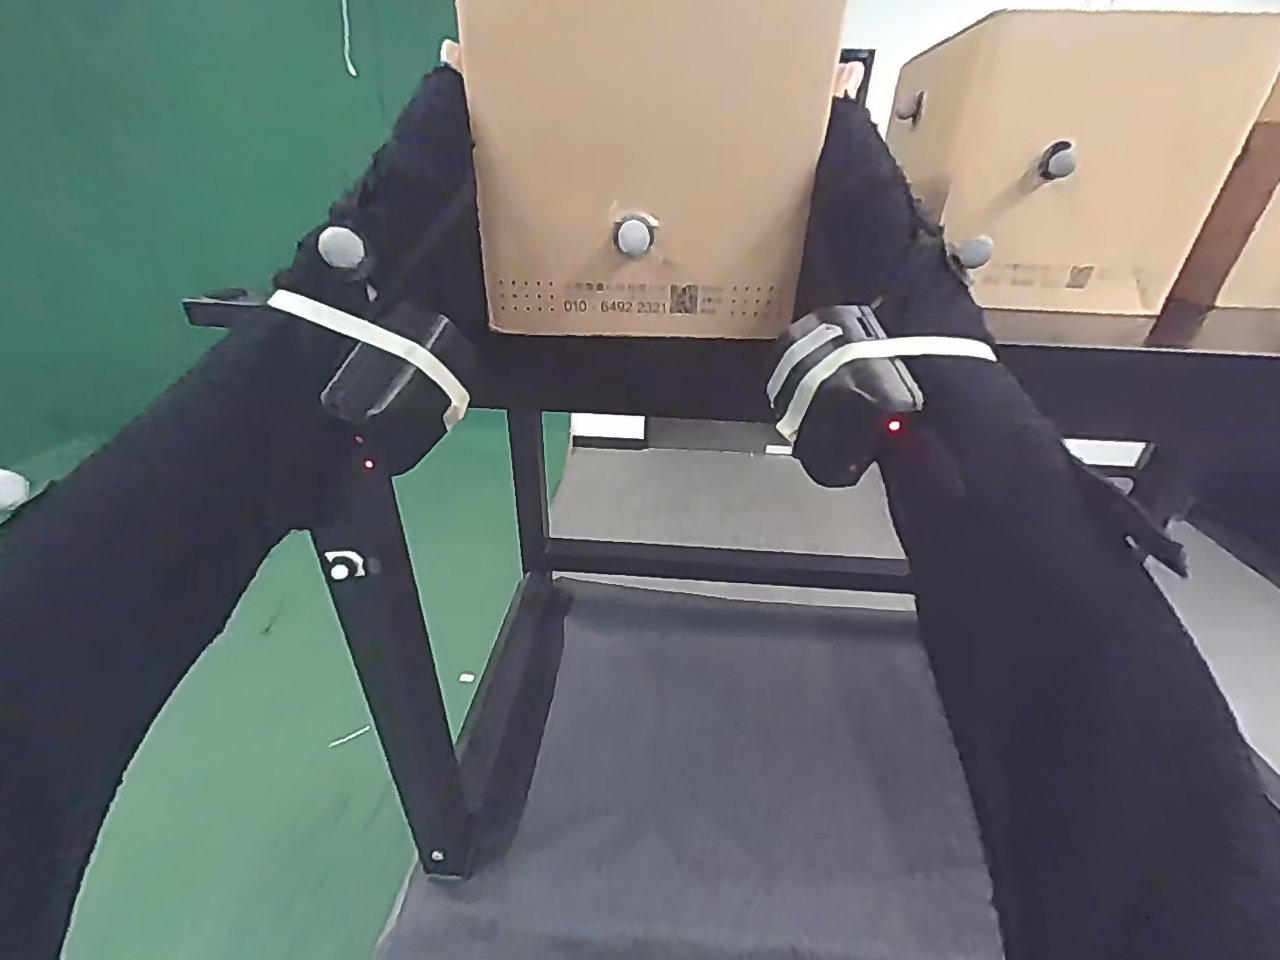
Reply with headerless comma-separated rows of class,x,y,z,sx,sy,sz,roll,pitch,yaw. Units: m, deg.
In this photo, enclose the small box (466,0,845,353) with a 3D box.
small box,0.000,-0.186,0.330,0.168,0.176,0.179,0,31,-3
